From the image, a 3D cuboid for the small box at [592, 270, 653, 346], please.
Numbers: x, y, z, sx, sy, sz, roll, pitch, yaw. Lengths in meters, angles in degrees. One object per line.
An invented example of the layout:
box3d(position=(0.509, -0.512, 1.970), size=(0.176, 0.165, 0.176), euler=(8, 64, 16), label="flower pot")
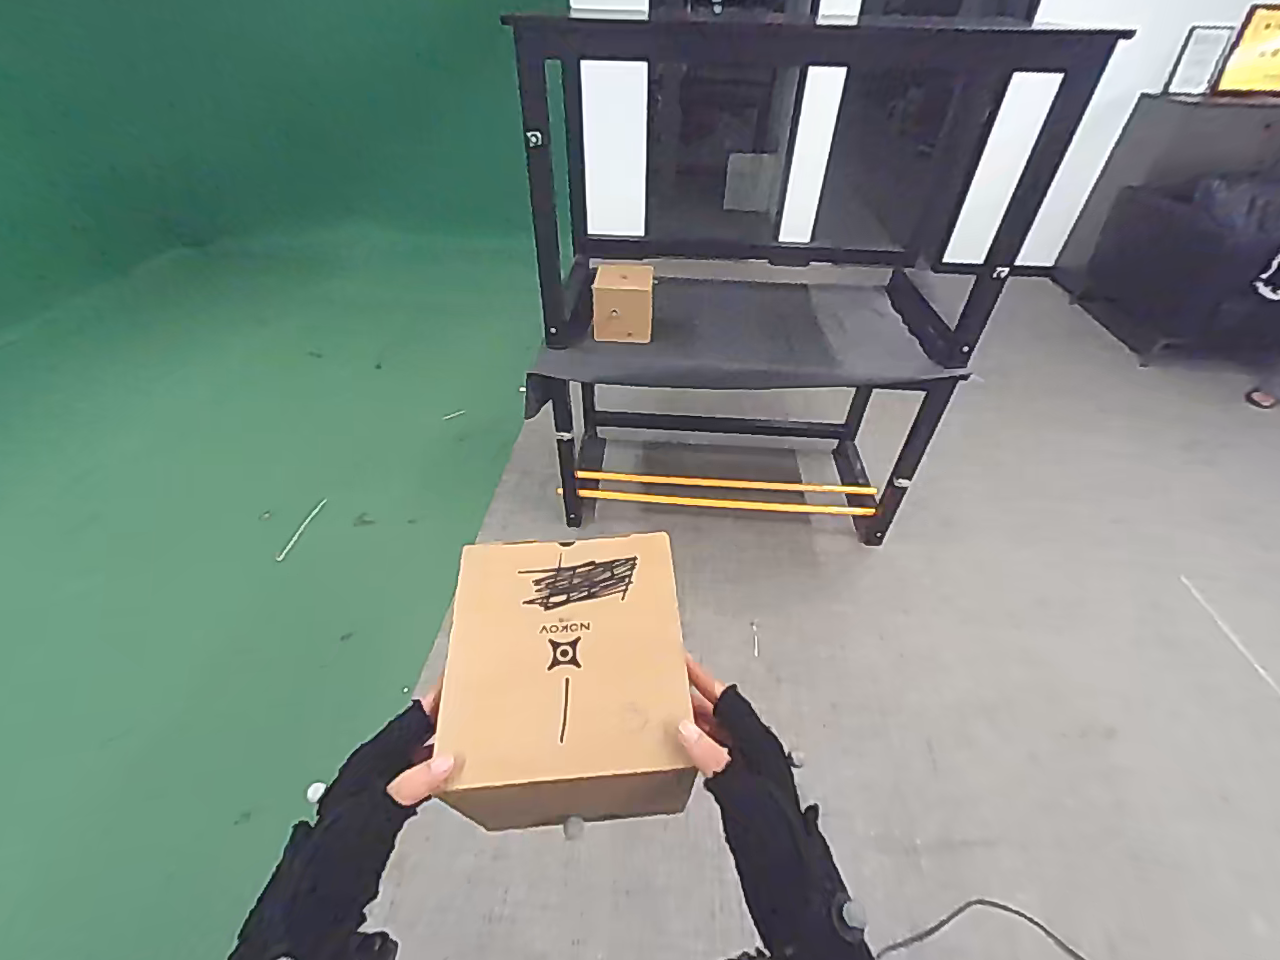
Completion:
box3d(position=(-0.047, -0.513, 1.613), size=(0.168, 0.176, 0.179), euler=(2, 41, 1), label="small box")
